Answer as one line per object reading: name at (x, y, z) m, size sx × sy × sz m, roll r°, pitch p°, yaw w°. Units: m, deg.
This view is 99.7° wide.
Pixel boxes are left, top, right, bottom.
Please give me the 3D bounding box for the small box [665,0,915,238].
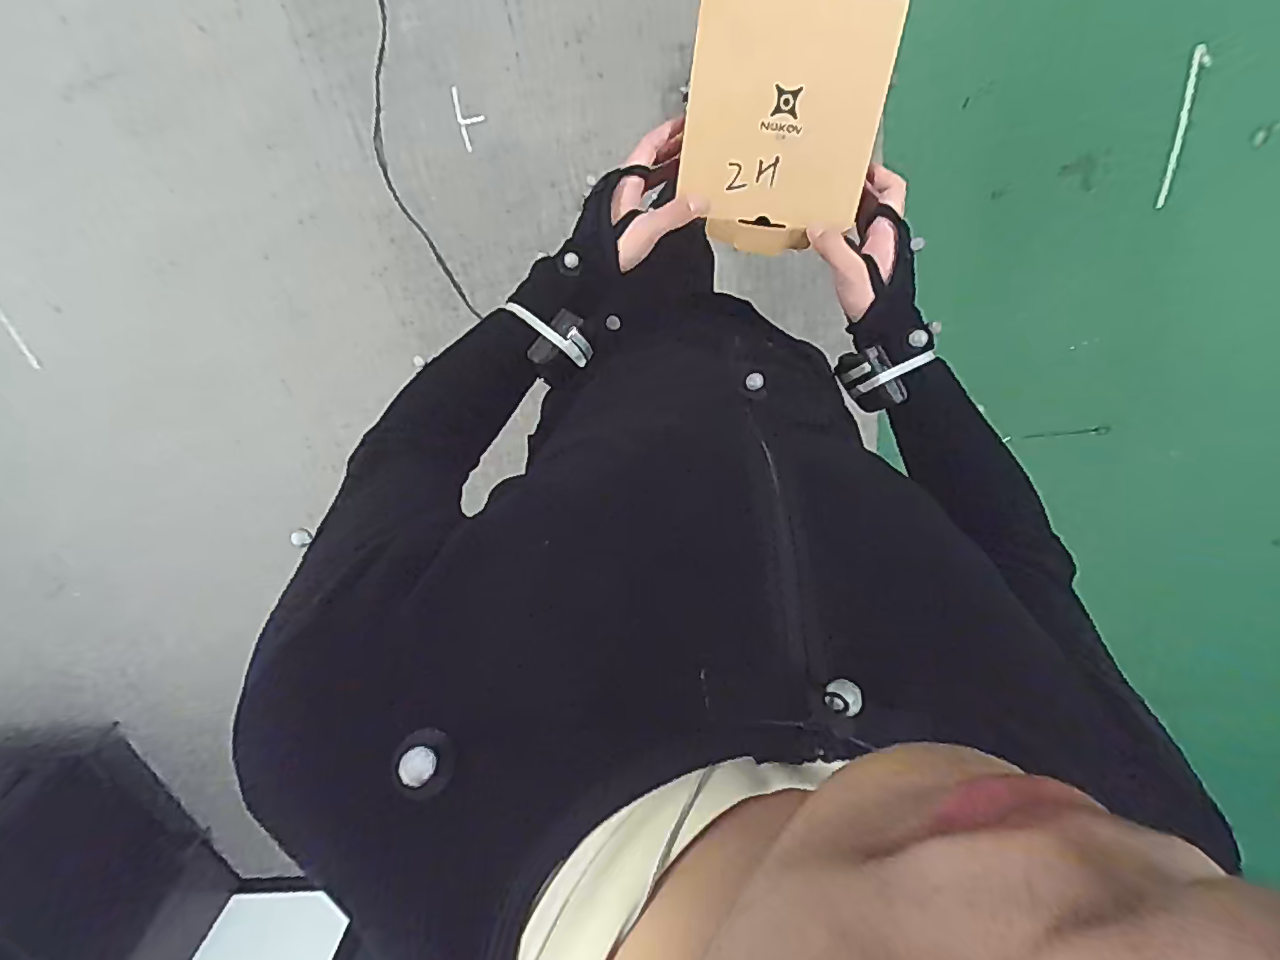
small box at (0.126, -0.350, 0.528) m, size 0.168 × 0.176 × 0.179 m, roll 14°, pitch 116°, yaw 0°
